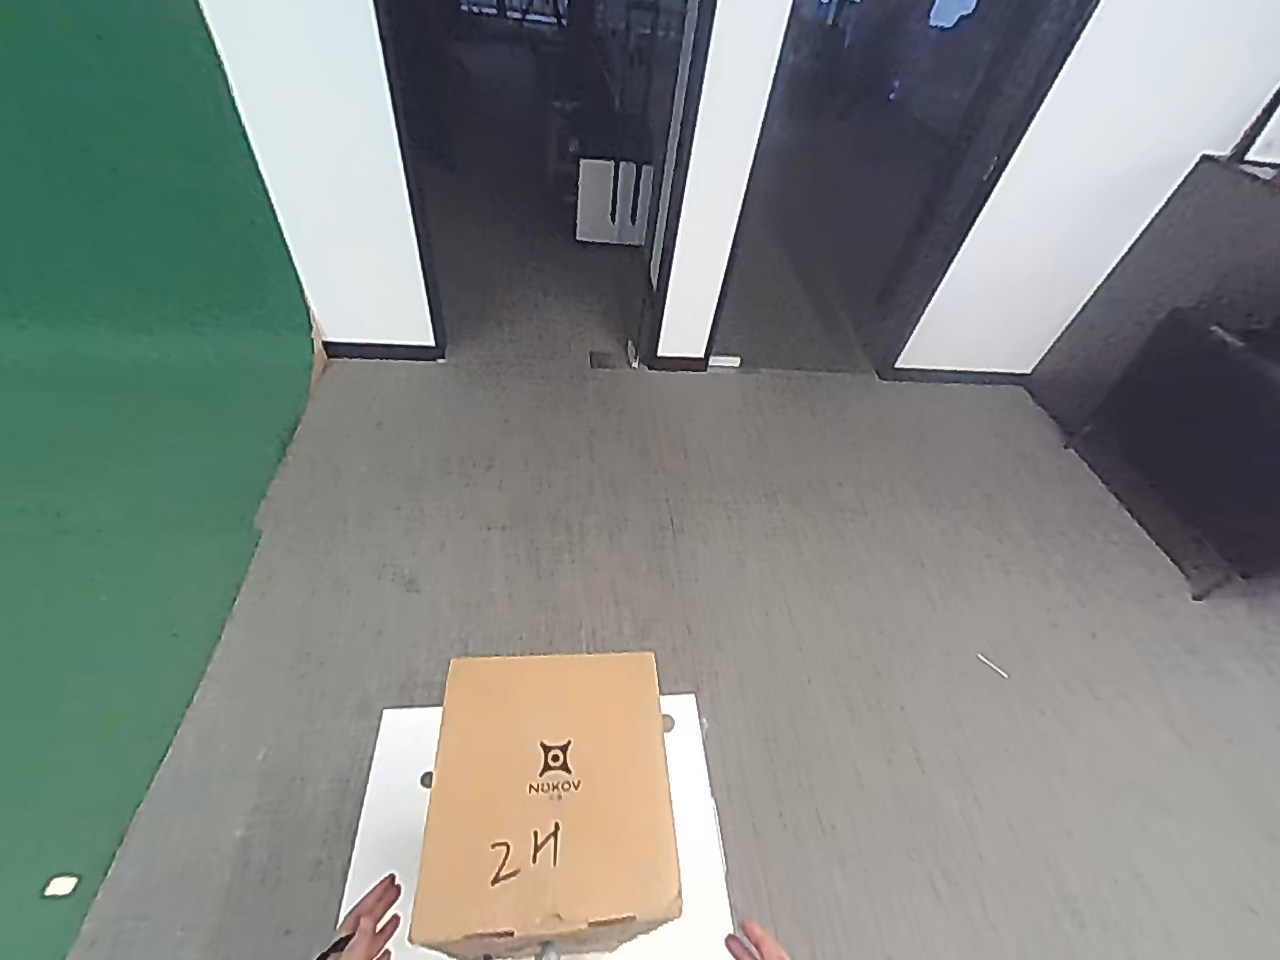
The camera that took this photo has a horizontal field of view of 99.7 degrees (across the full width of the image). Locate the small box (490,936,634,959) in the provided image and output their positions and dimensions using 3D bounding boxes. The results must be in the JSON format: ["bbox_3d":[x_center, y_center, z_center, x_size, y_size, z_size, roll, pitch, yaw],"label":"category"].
[{"bbox_3d":[-0.102,0.479,0.678,0.168,0.176,0.179,2,47,-8],"label":"small box"}]

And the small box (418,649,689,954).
[{"bbox_3d":[-0.066,0.257,0.438,0.168,0.176,0.179,1,47,-9],"label":"small box"}]
